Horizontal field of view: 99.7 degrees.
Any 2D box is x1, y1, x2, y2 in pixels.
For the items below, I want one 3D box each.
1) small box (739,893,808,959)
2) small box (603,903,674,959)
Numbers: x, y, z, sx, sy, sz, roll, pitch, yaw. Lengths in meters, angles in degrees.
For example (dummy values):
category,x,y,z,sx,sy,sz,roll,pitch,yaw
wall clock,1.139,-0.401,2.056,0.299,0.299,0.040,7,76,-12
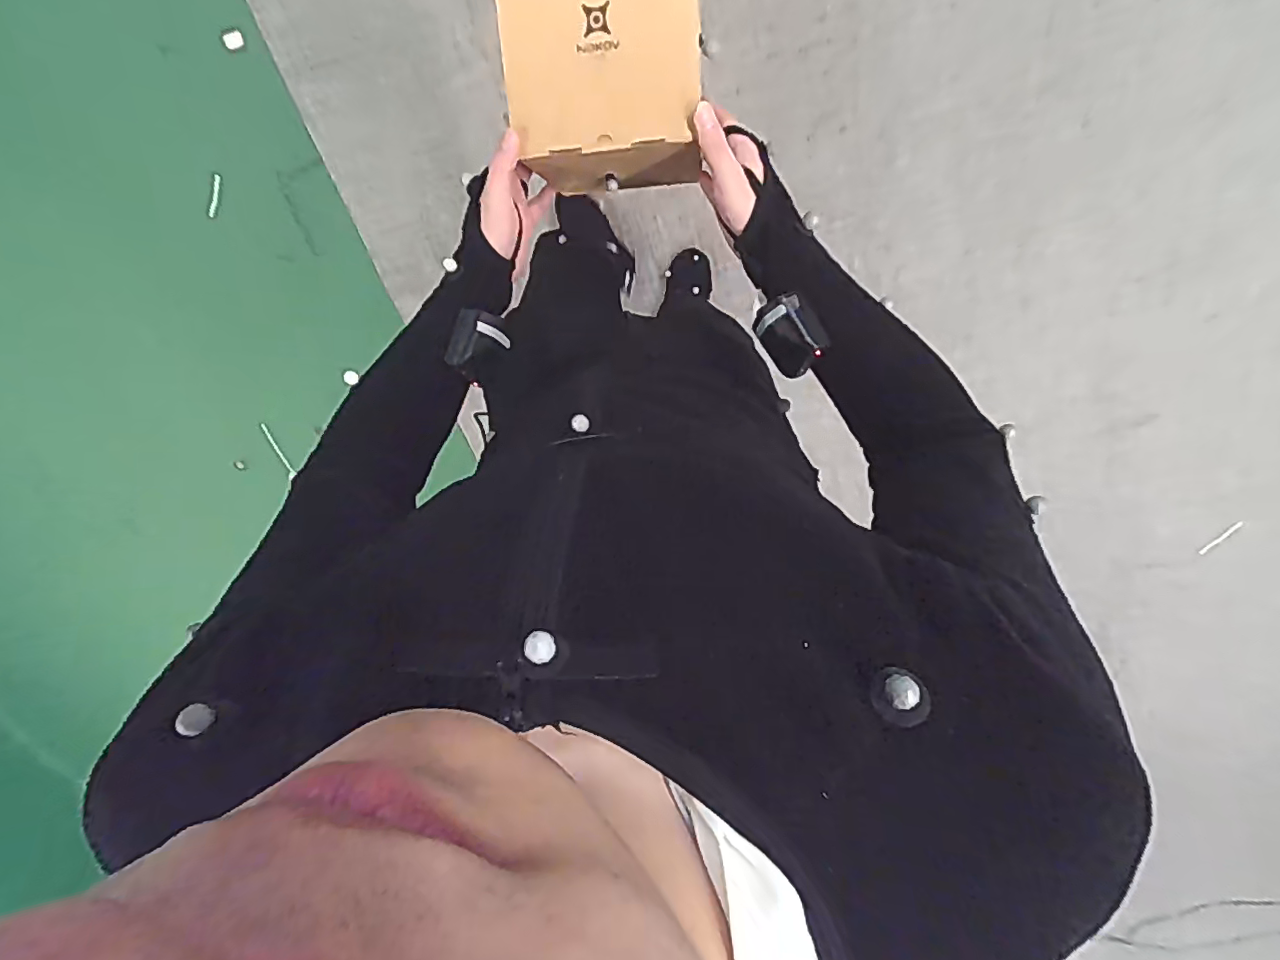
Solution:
category,x,y,z,sx,sy,sz,roll,pitch,yaw
small box,0.380,1.306,1.527,0.168,0.176,0.179,-13,116,12
small box,0.002,1.406,1.619,0.168,0.176,0.179,-14,117,12
